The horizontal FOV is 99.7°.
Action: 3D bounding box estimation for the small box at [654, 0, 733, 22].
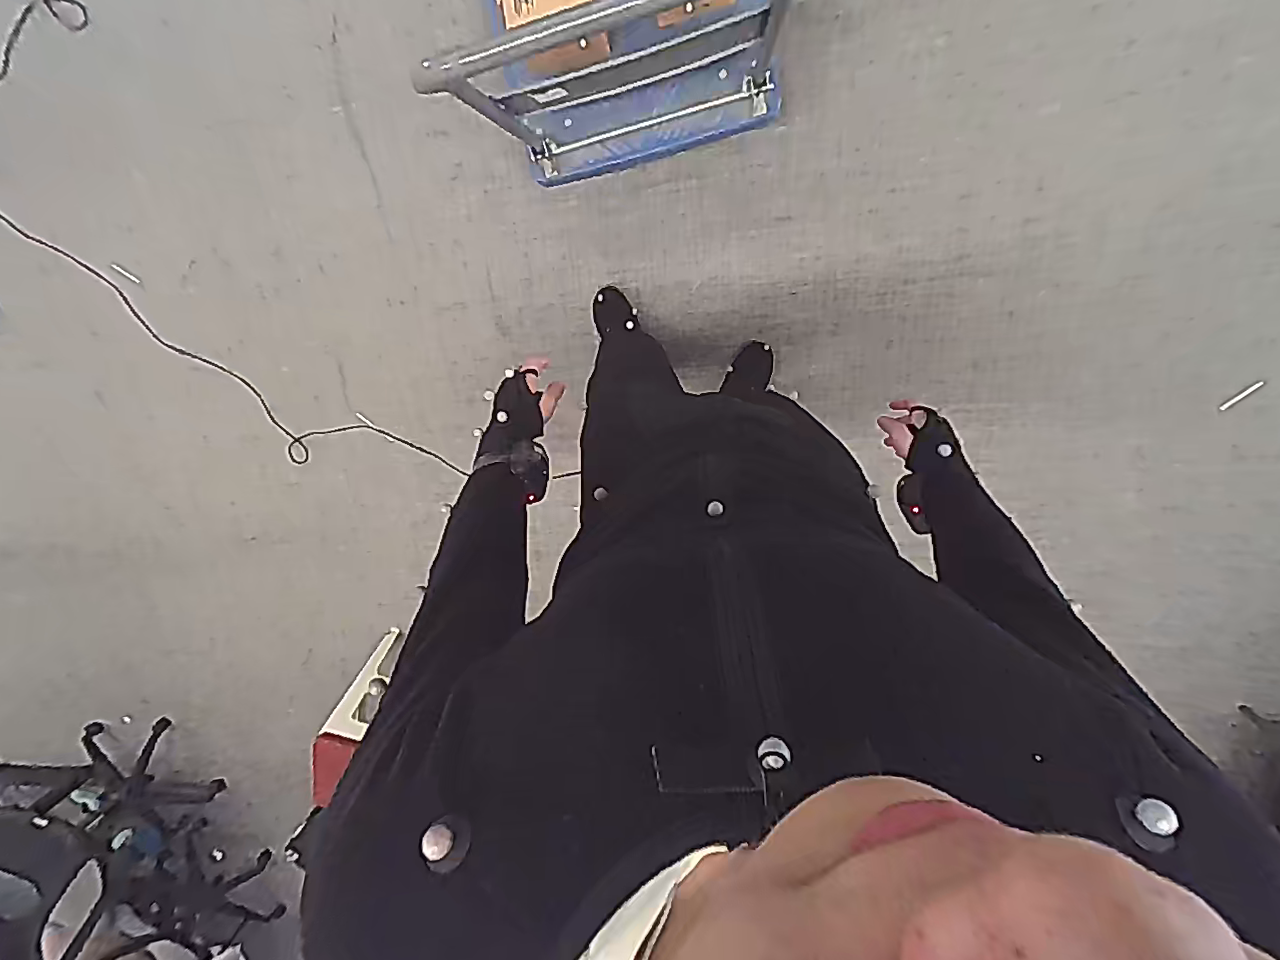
[{"bbox_3d":[0.092,-1.017,1.013,0.168,0.176,0.179,-8,109,11],"label":"small box"}]
